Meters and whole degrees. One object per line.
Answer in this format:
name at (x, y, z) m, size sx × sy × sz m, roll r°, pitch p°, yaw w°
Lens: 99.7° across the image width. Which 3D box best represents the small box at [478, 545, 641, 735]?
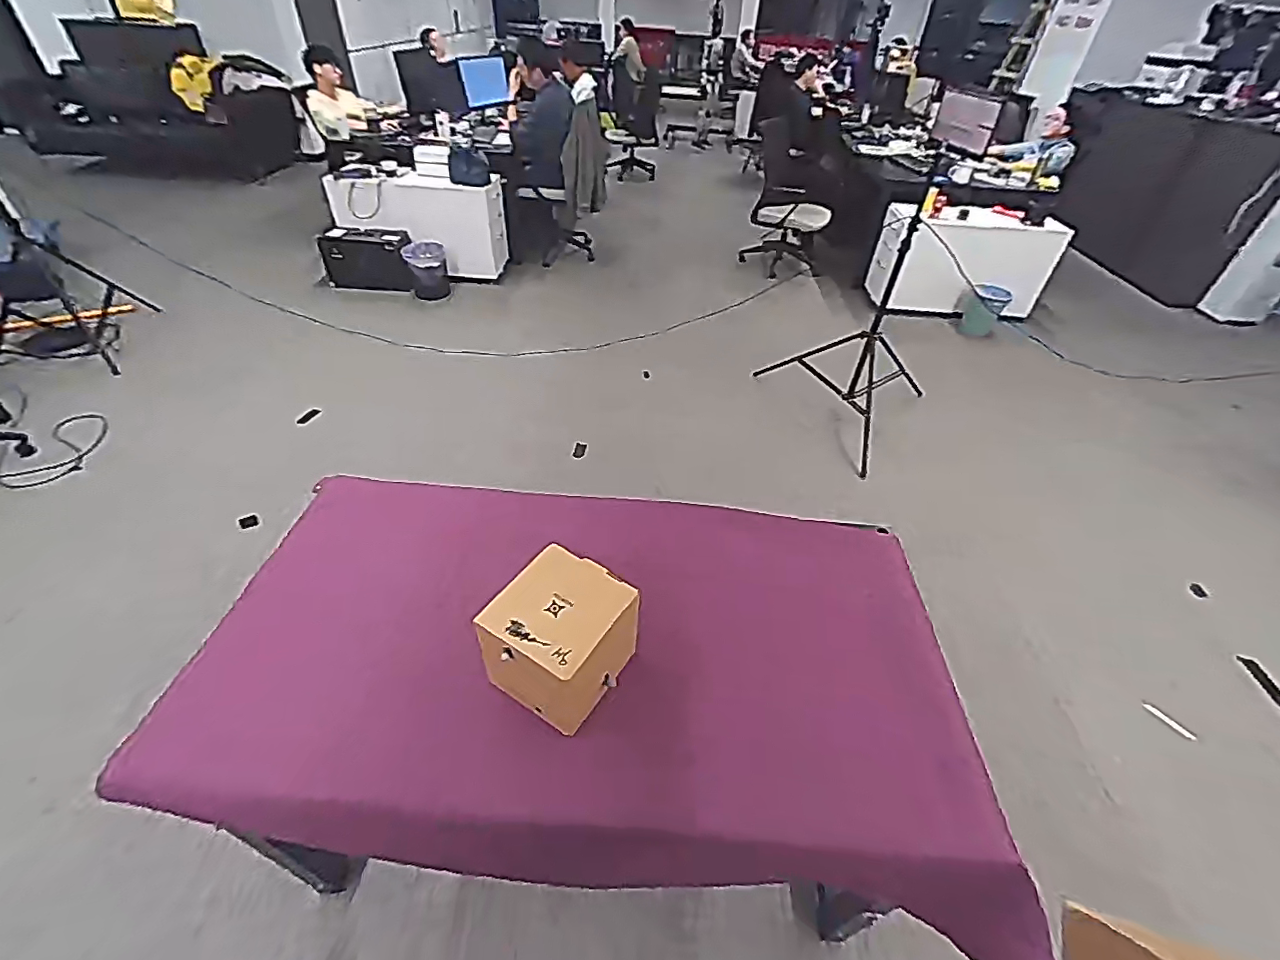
small box at (-0.117, 0.237, 0.814) m, size 0.168 × 0.176 × 0.179 m, roll 24°, pitch 44°, yaw 22°
